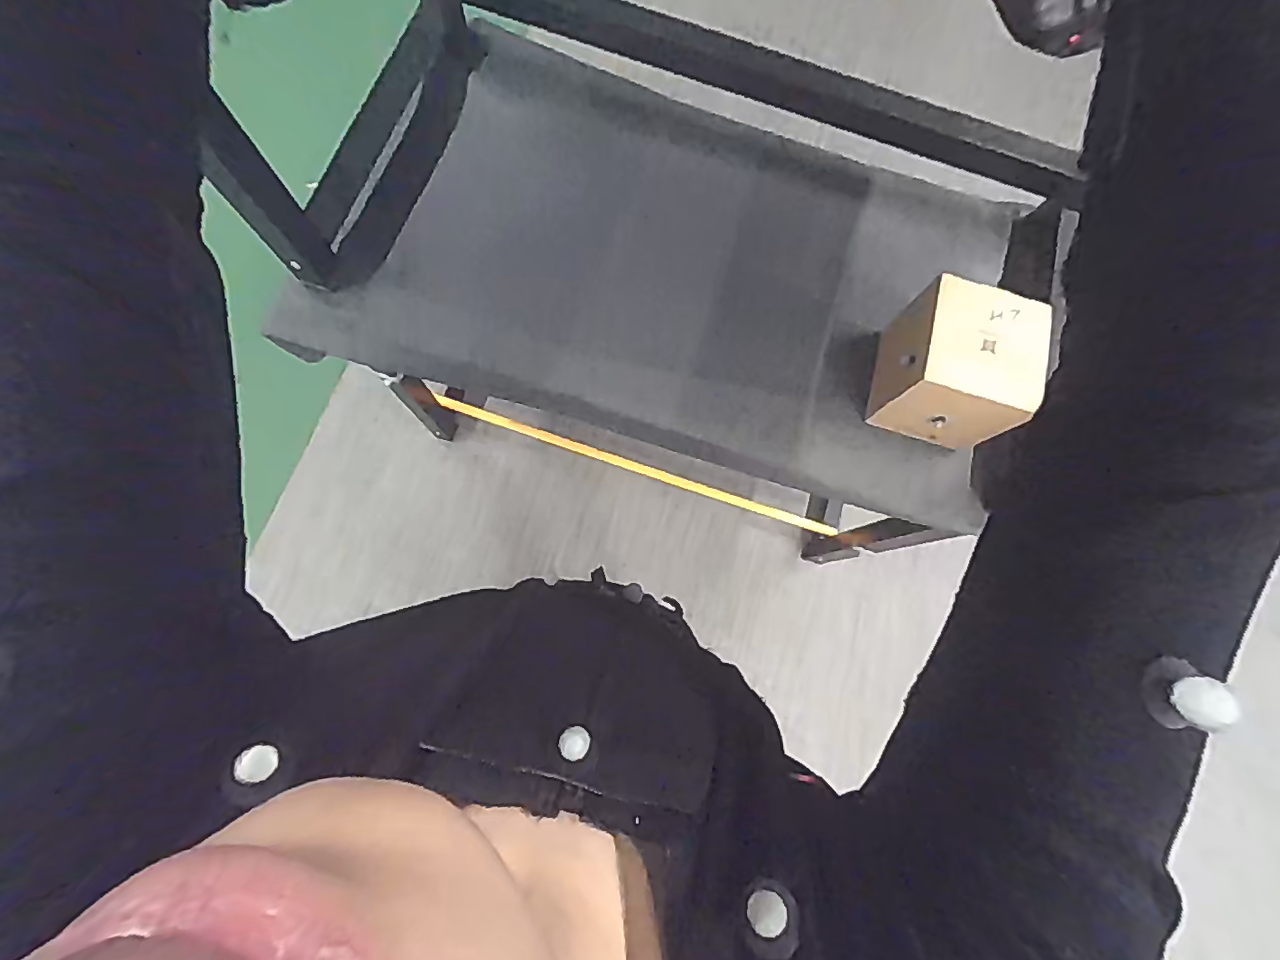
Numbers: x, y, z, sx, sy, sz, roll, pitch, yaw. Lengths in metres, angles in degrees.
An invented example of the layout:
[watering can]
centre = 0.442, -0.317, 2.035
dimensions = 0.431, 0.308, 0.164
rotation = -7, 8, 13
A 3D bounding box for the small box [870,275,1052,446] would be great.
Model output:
[small box]
centre = 0.474, -0.169, 0.820
dimensions = 0.168, 0.176, 0.179
rotation = 17, 75, -1
